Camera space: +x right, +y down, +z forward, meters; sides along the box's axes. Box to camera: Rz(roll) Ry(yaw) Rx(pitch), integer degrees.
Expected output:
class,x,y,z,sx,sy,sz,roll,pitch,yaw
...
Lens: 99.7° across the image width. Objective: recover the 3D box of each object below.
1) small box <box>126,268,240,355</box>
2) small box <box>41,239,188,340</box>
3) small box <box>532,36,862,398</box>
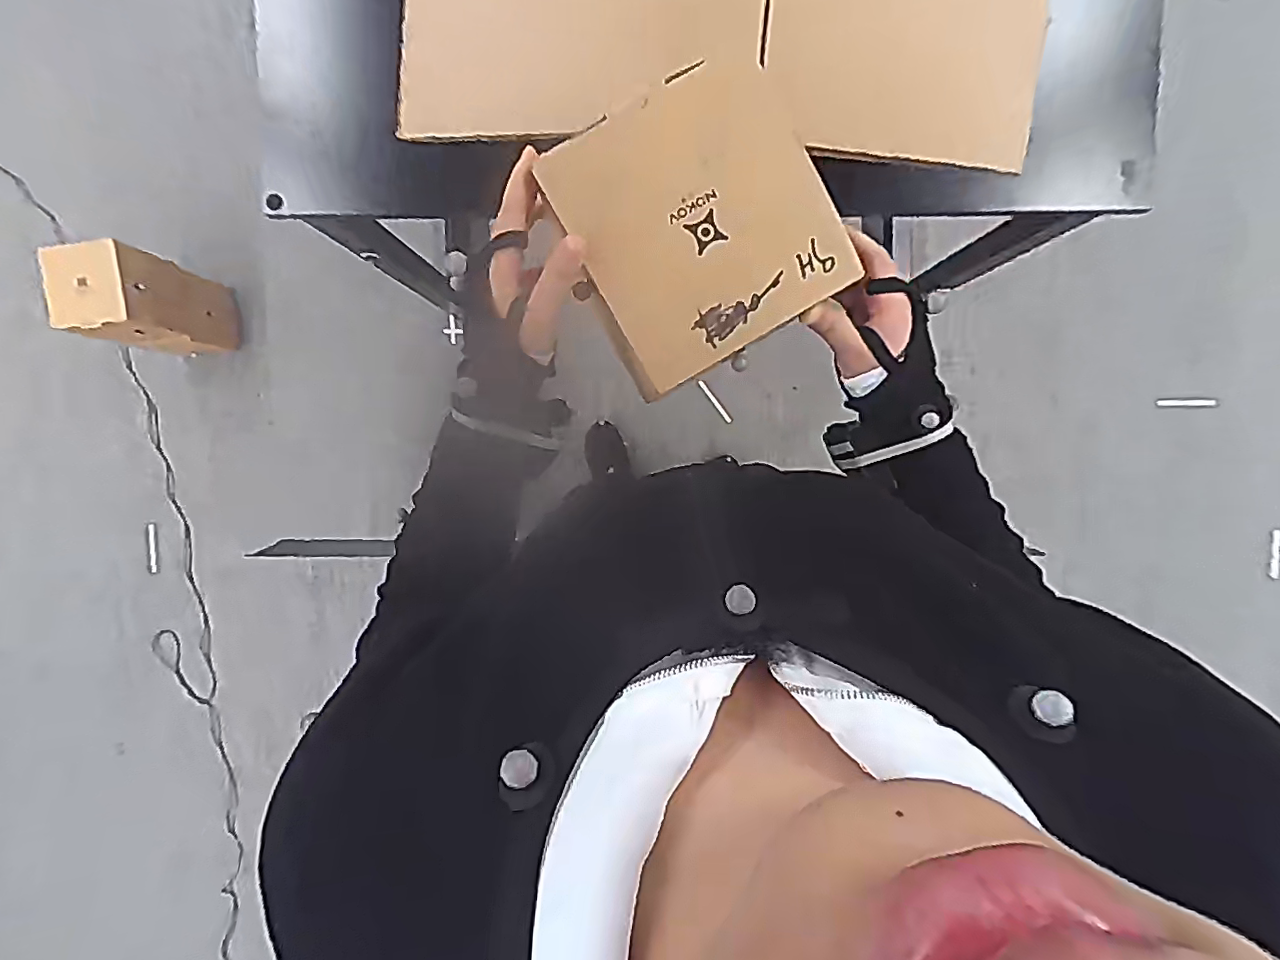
class,x,y,z,sx,sy,sz,roll,pitch,yaw
small box,-1.178,-0.428,1.393,0.168,0.176,0.179,-4,95,1
small box,-1.181,-0.423,1.231,0.168,0.176,0.179,-7,93,0
small box,0.036,-0.183,0.439,0.168,0.176,0.179,-31,95,1
